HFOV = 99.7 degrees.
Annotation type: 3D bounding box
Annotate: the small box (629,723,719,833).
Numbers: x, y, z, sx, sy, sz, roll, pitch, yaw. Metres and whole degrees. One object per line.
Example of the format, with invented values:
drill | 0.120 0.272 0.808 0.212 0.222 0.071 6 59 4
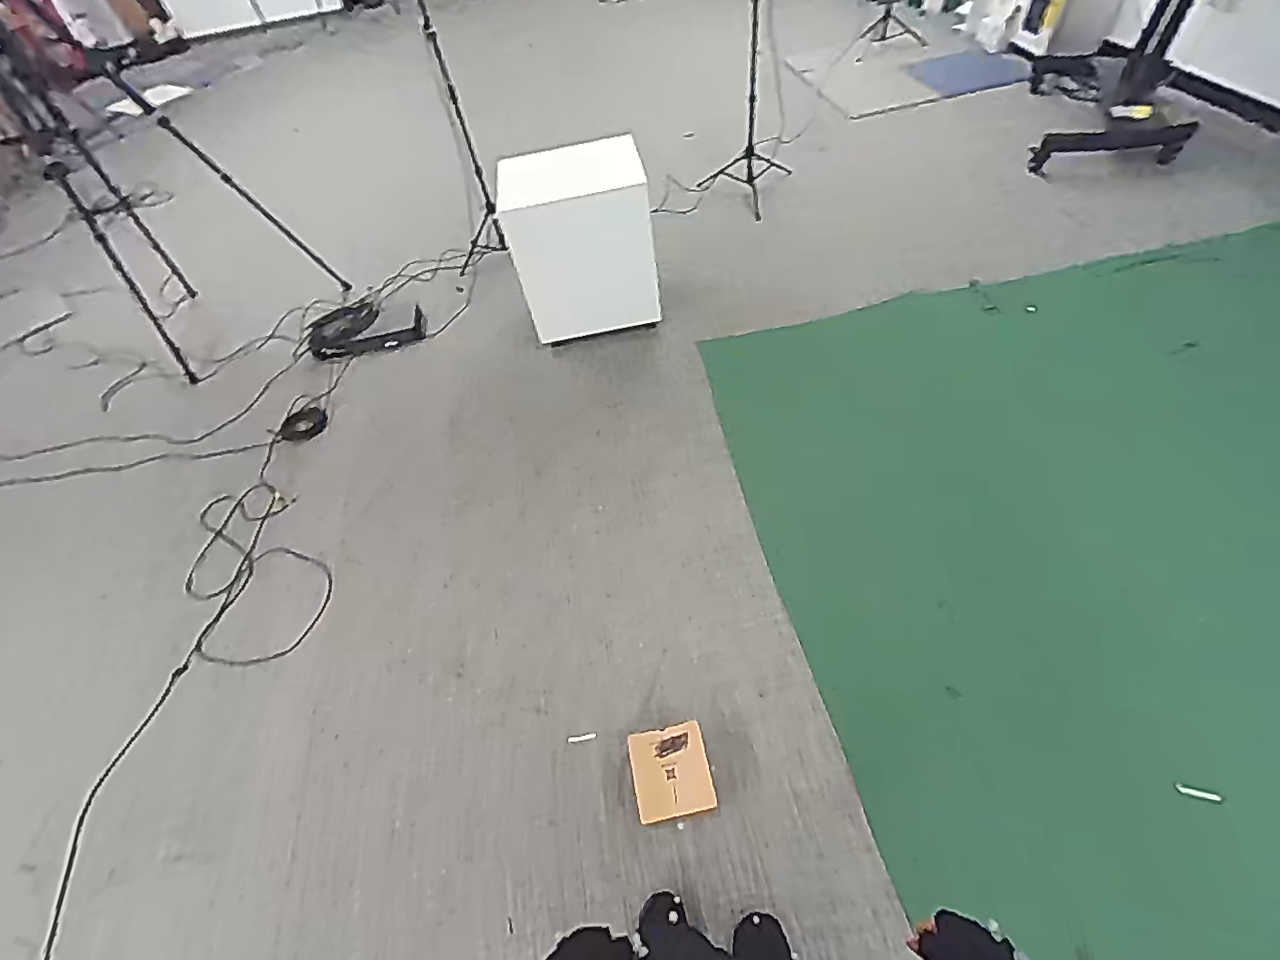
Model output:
small box | 0.075 0.674 1.218 0.168 0.176 0.179 -13 54 -2
